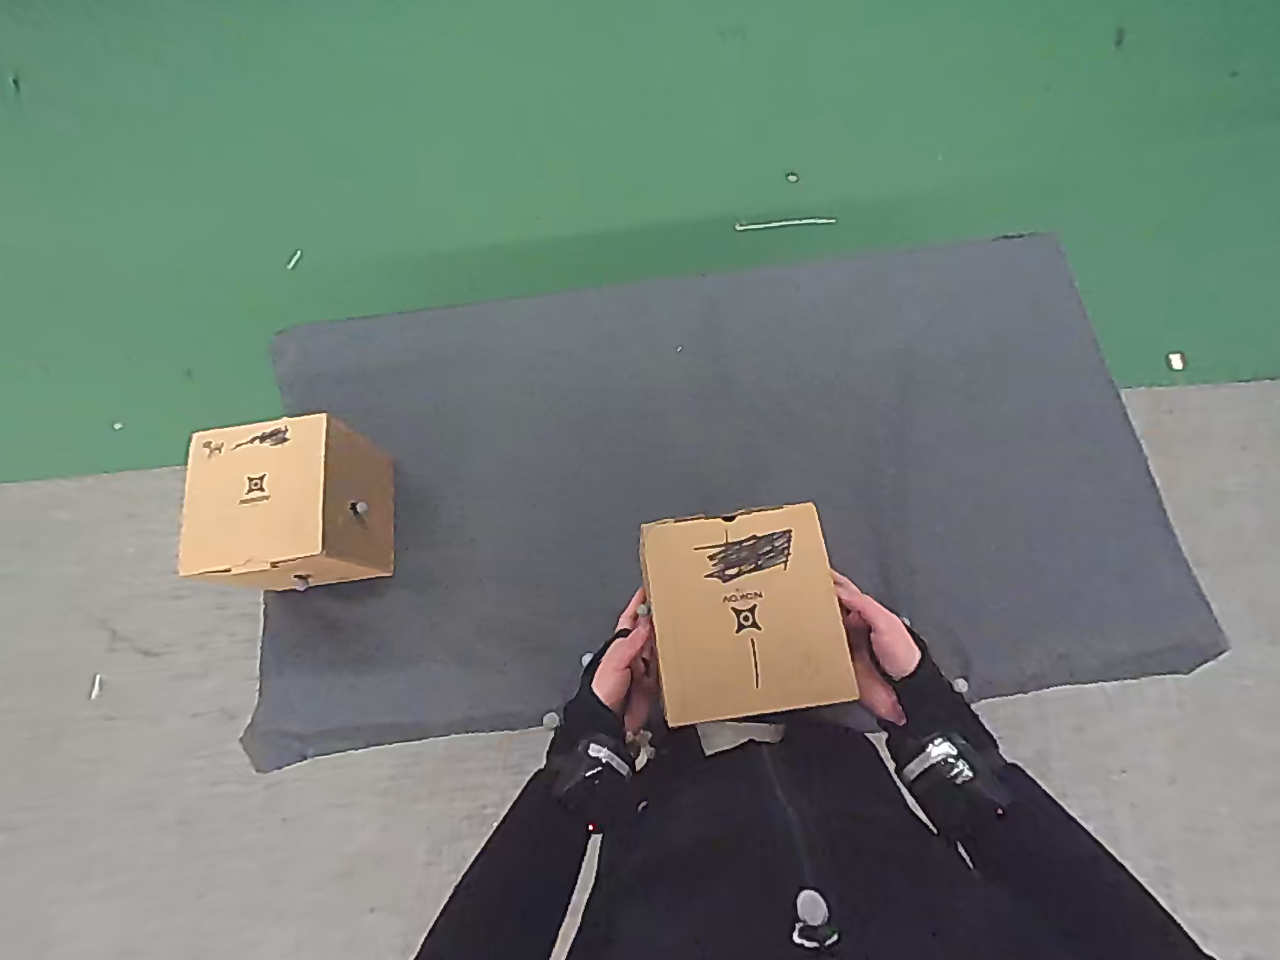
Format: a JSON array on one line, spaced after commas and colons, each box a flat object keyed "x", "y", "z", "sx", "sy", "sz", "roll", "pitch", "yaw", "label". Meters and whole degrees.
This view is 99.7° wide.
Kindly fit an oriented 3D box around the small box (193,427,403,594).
[{"x": -0.424, "y": 0.050, "z": 0.700, "sx": 0.168, "sy": 0.176, "sz": 0.179, "roll": -8, "pitch": 73, "yaw": 0, "label": "small box"}]
